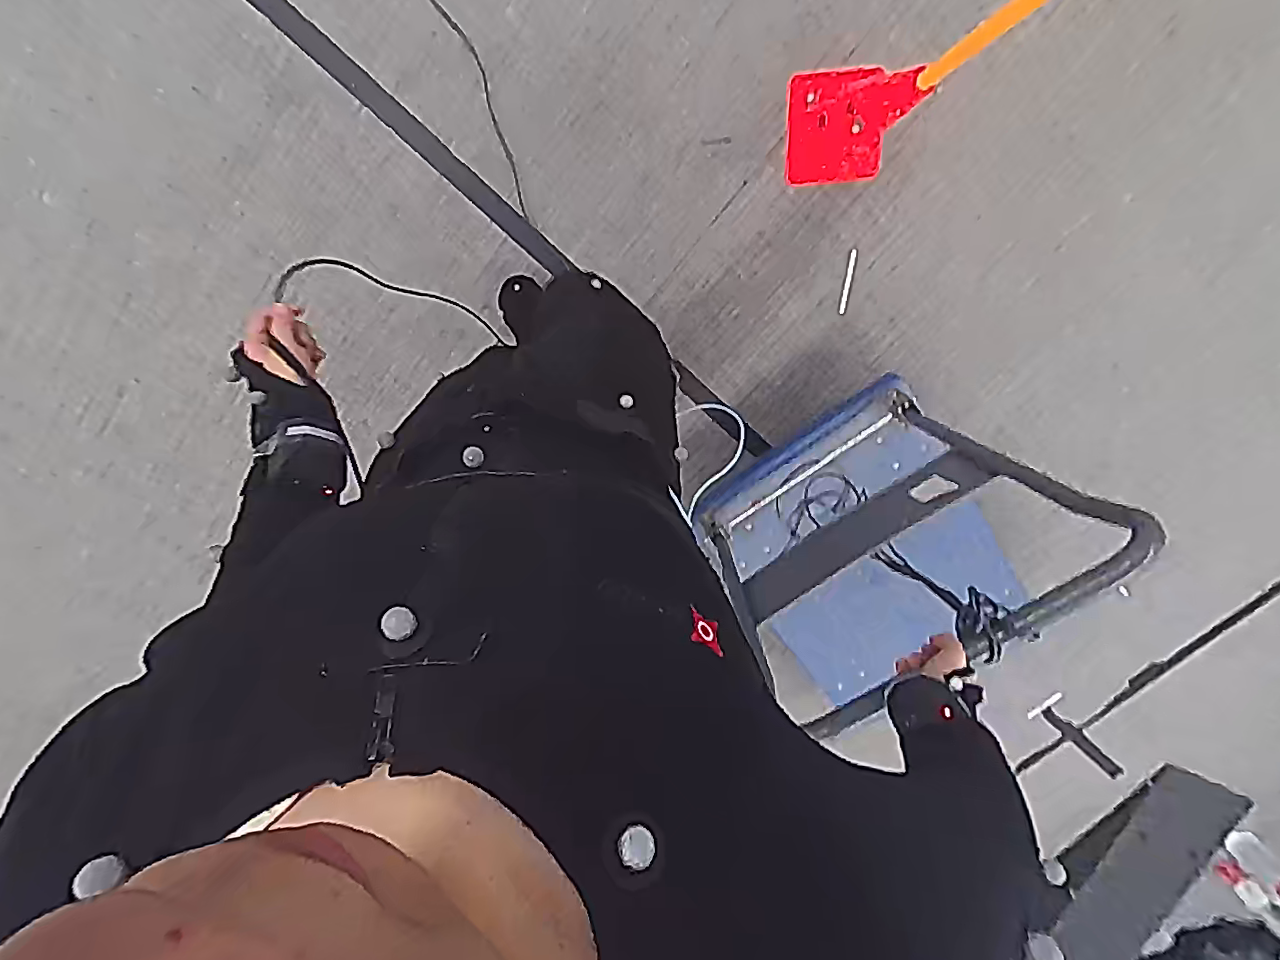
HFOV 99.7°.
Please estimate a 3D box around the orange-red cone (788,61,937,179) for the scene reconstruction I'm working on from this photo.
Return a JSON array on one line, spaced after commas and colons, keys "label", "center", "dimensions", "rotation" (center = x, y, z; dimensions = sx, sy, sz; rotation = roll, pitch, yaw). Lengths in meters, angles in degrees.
[{"label": "orange-red cone", "center": [0.410, -0.660, 0.948], "dimensions": [0.198, 0.360, 0.199], "rotation": [-4, 115, -1]}]
